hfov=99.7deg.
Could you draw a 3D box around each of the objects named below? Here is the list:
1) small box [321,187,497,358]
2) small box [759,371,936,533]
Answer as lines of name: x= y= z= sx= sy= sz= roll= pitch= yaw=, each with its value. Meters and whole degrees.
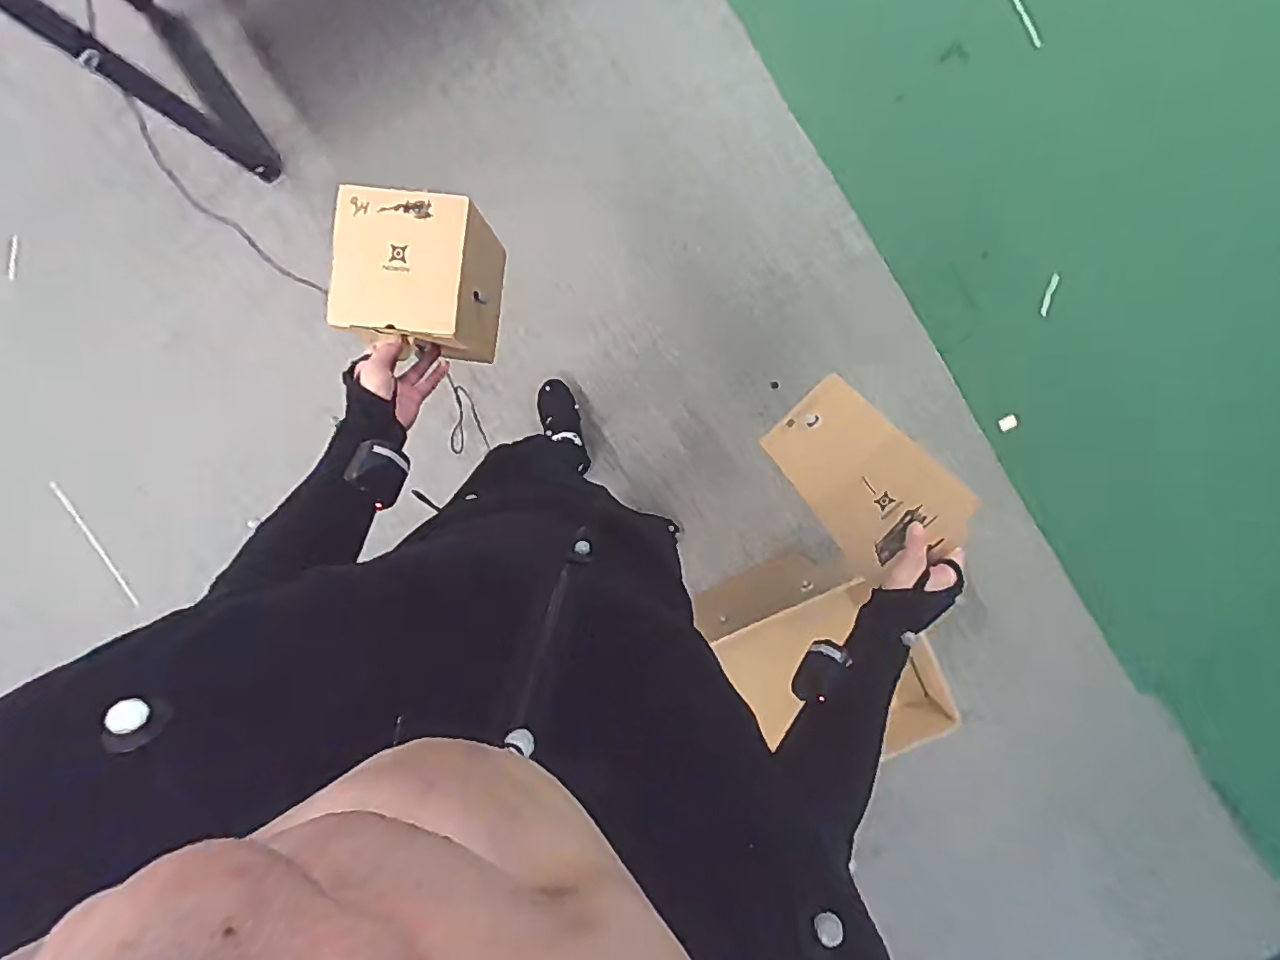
small box: x=-0.306 y=-0.272 z=0.748 sx=0.168 sy=0.176 sz=0.179 roll=6 pitch=92 yaw=2
small box: x=0.329 y=-0.047 z=0.875 sx=0.179 sy=0.176 sz=0.168 roll=28 pitch=114 yaw=-38
